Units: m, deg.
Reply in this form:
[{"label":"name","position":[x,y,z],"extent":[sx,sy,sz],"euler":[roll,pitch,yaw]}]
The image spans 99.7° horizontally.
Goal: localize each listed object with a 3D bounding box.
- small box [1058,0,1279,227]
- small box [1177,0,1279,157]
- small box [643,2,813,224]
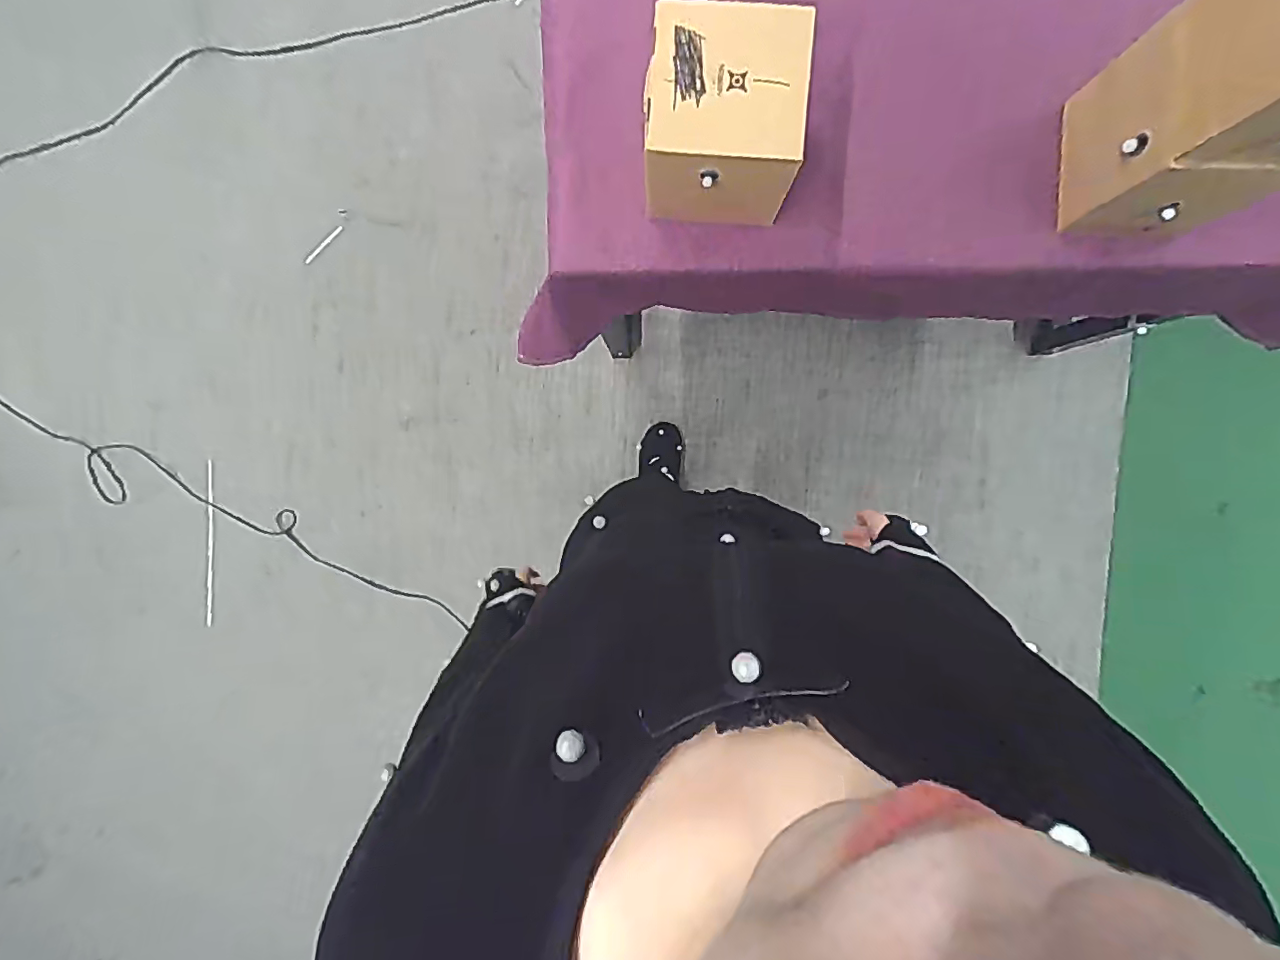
[{"label":"small box","position":[0.645,-0.422,0.648],"extent":[0.168,0.176,0.179],"euler":[1,92,2]},{"label":"small box","position":[0.644,-0.423,0.485],"extent":[0.168,0.176,0.179],"euler":[1,93,2]},{"label":"small box","position":[0.098,-0.436,0.669],"extent":[0.179,0.176,0.168],"euler":[4,92,1]}]
